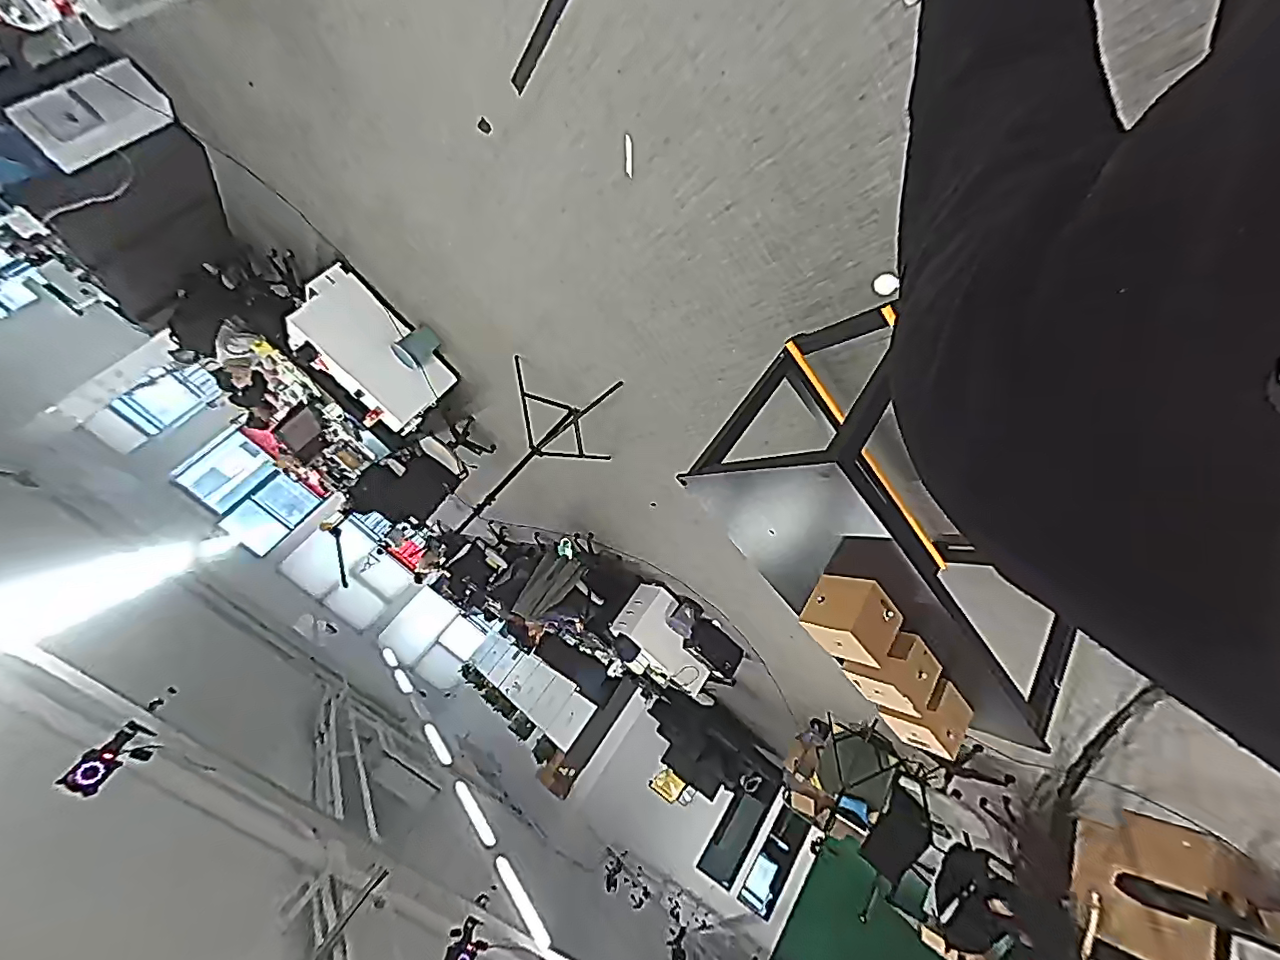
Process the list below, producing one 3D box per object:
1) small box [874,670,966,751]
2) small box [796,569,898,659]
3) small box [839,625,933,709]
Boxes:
[{"bbox_3d":[0.868,0.690,1.667,0.179,0.176,0.168,48,155,-20],"label":"small box"},{"bbox_3d":[0.575,0.363,1.497,0.168,0.176,0.179,46,155,-20],"label":"small box"},{"bbox_3d":[0.726,0.529,1.579,0.168,0.176,0.179,48,155,-20],"label":"small box"}]
